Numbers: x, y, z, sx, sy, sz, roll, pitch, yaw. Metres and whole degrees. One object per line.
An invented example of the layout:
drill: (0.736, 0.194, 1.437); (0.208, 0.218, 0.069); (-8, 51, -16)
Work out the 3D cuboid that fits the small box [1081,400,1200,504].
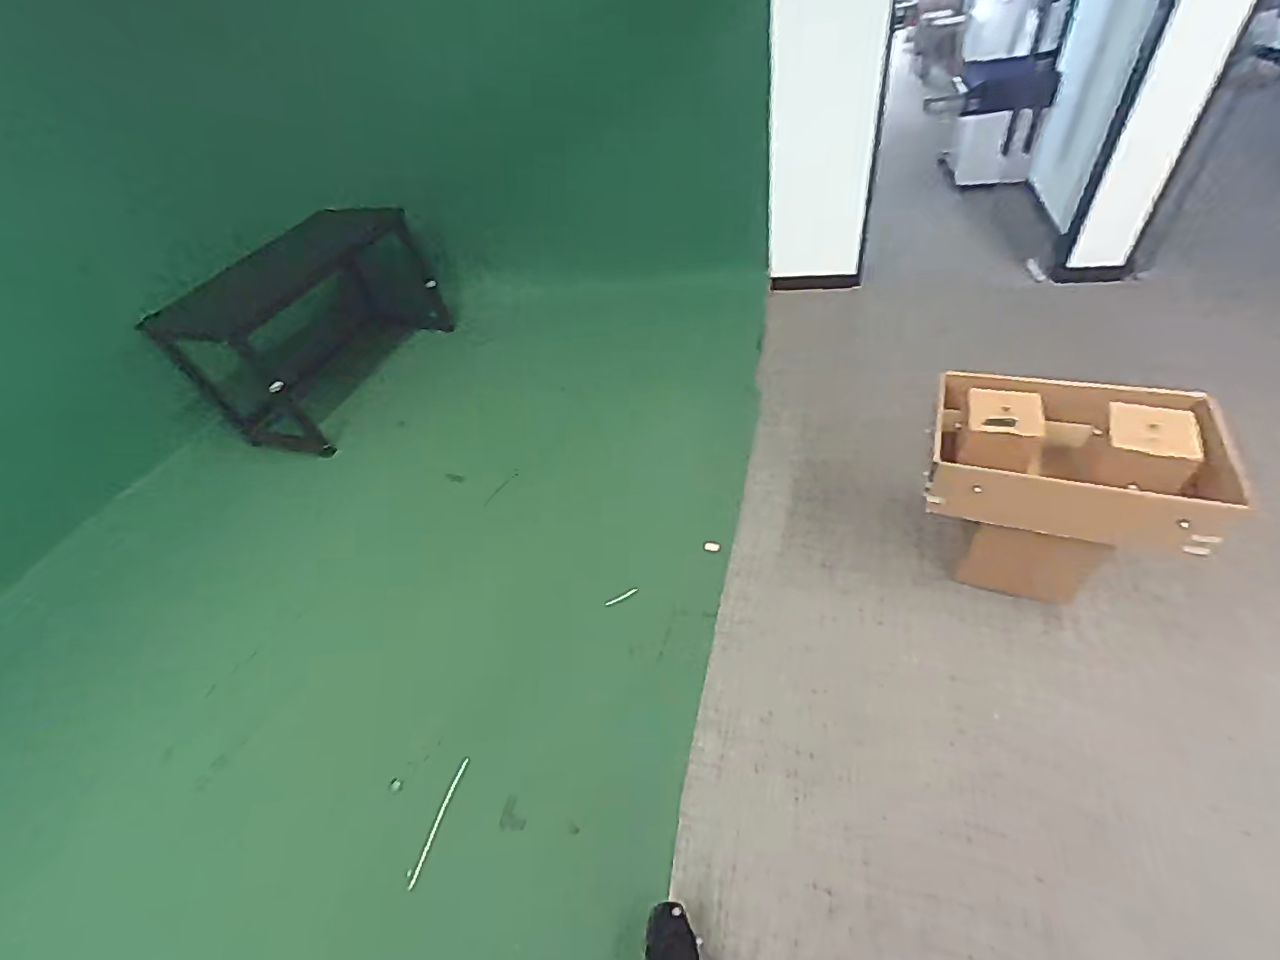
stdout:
small box: (1.232, -0.070, 1.347); (0.168, 0.176, 0.179); (14, 52, 24)
